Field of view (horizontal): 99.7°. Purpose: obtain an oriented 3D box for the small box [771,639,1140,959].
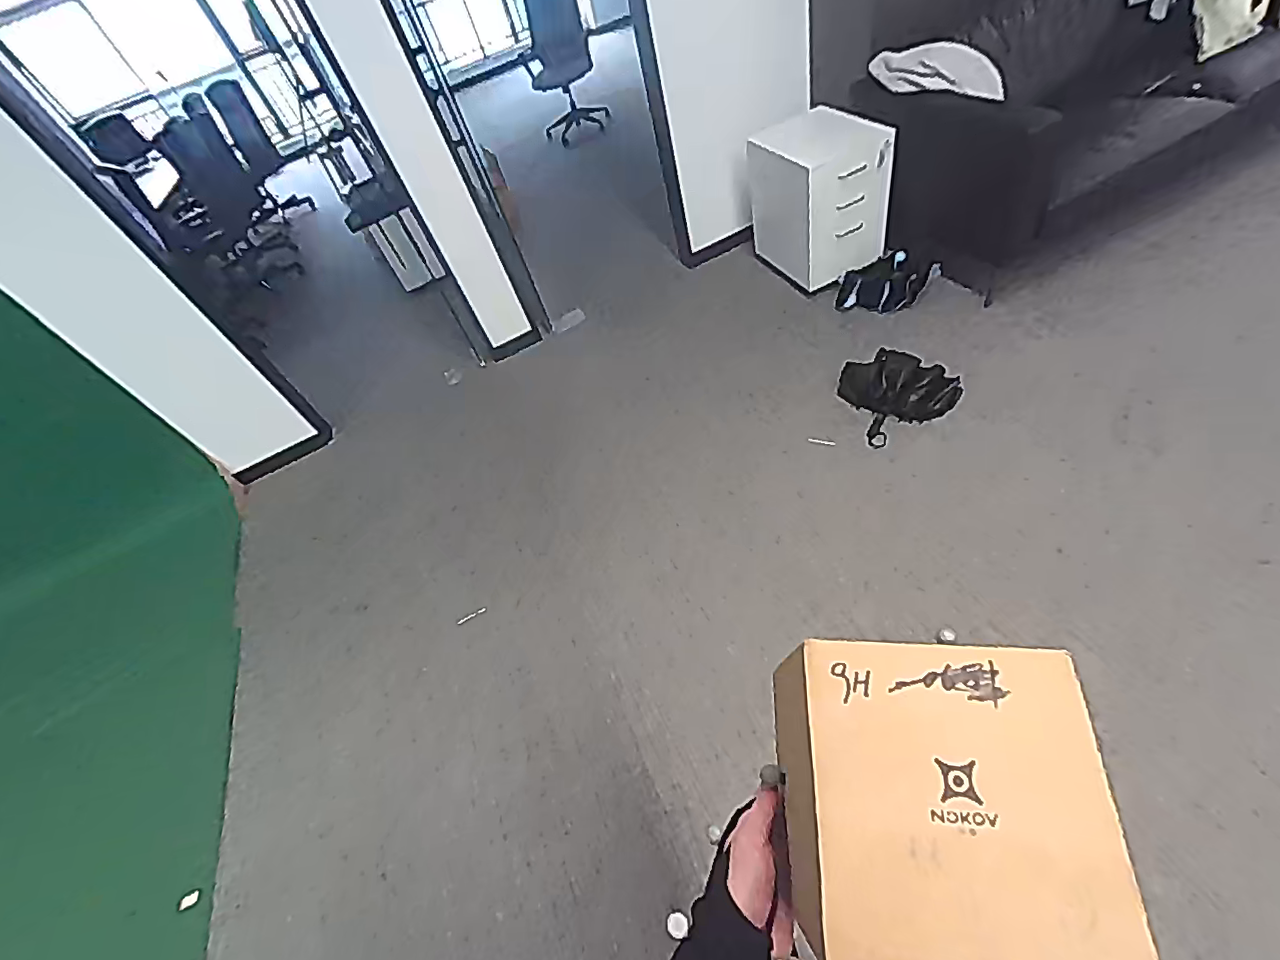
[{"bbox_3d":[0.190,0.219,0.389,0.168,0.176,0.179,1,65,5],"label":"small box"}]
